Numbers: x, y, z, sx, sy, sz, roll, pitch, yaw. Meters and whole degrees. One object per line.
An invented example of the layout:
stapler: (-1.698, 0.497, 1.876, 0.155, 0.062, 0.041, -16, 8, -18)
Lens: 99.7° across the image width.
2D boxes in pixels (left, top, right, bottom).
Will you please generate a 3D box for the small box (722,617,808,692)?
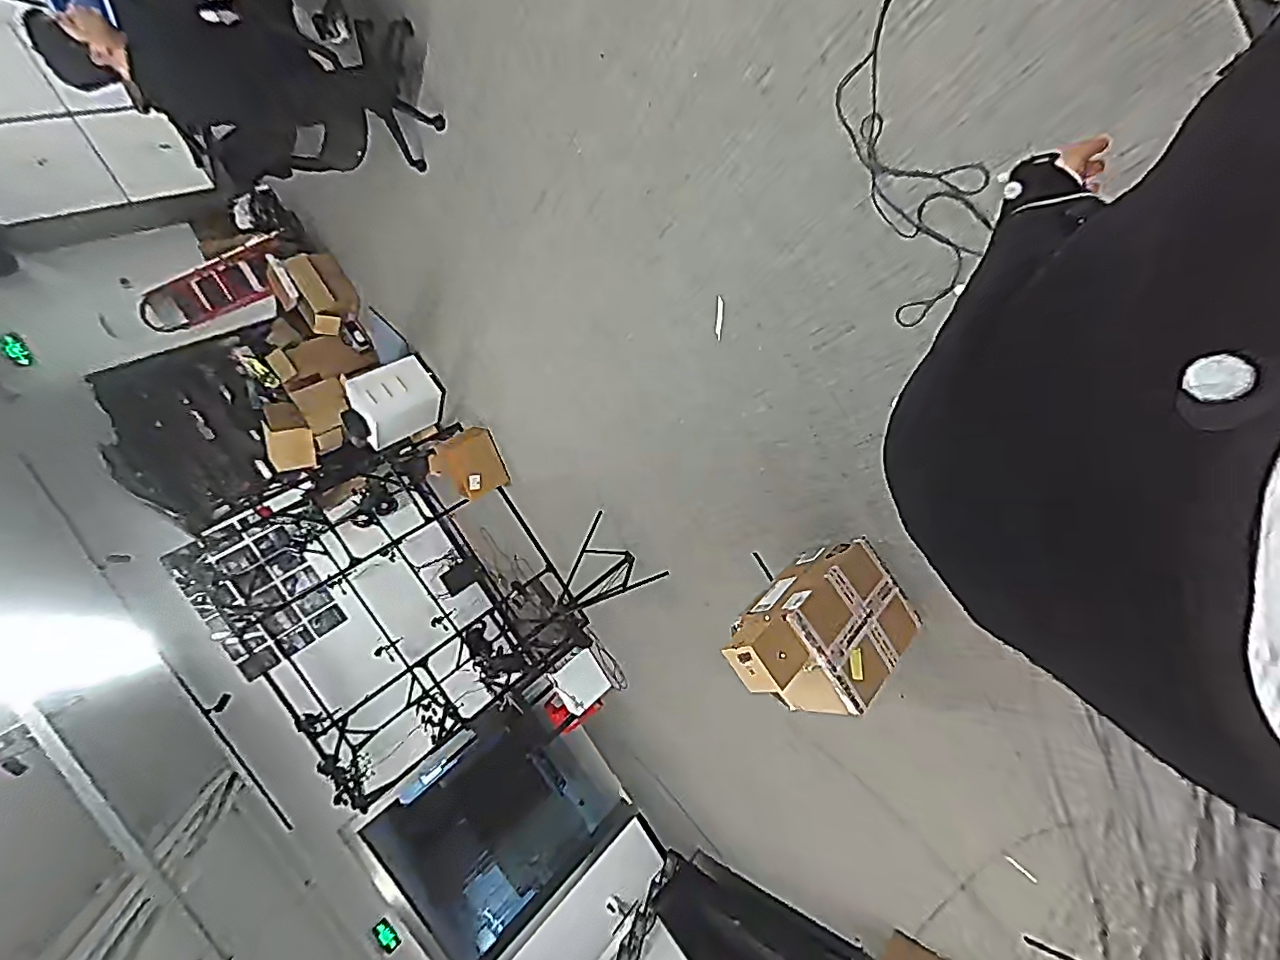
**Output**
small box: (0.411, 0.567, 1.774, 0.179, 0.176, 0.168, 55, 146, 2)
